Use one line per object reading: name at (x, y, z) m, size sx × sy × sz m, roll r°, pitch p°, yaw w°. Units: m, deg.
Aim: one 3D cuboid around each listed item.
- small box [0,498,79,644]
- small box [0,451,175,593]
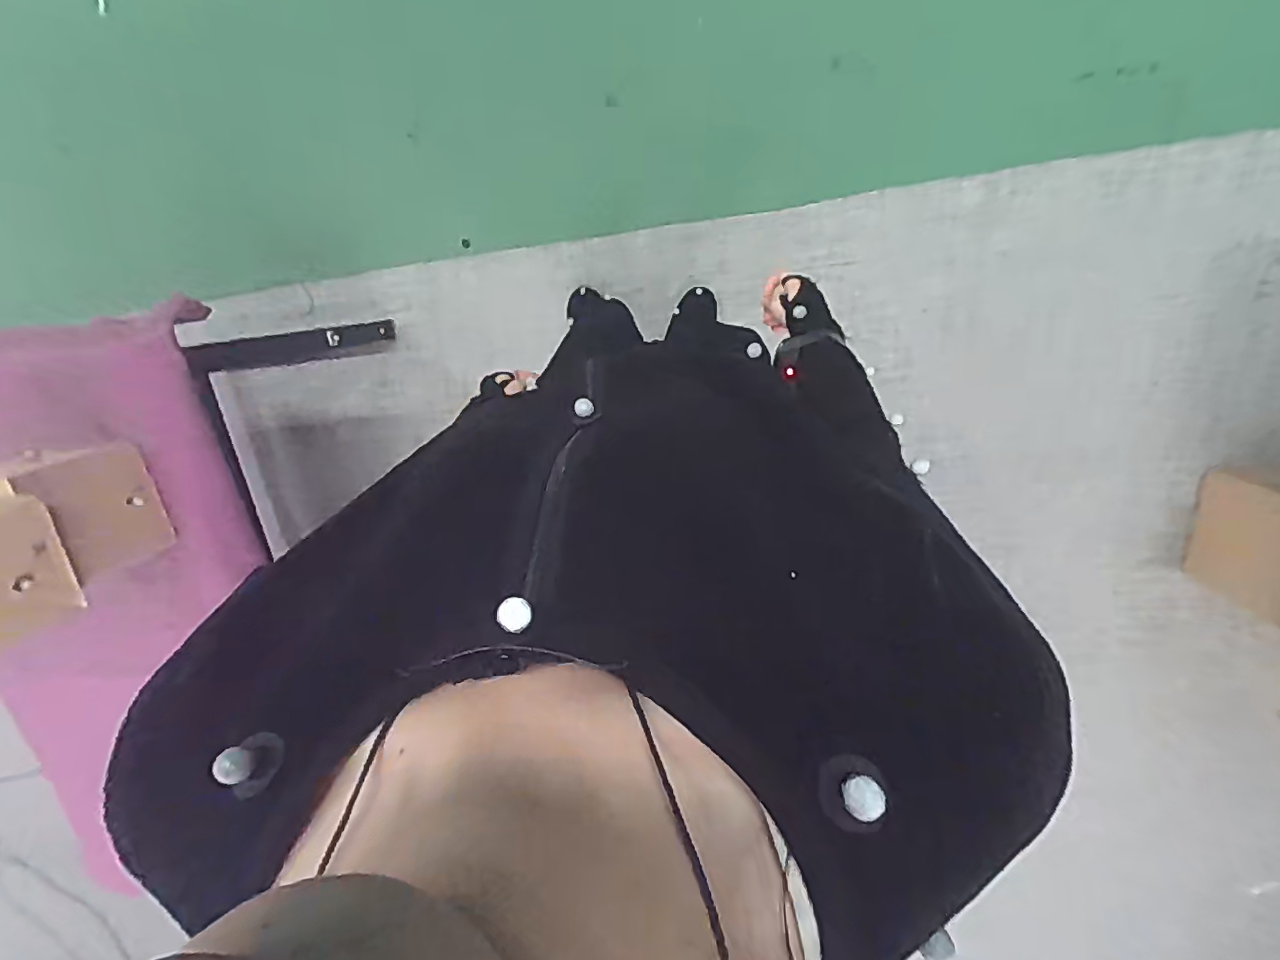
small box at (-0.859, 0.124, 0.651) m, size 0.179 × 0.176 × 0.168 m, roll 2°, pitch 110°, yaw 6°
small box at (-0.860, 0.059, 0.803) m, size 0.168 × 0.176 × 0.179 m, roll -5°, pitch 108°, yaw 10°
